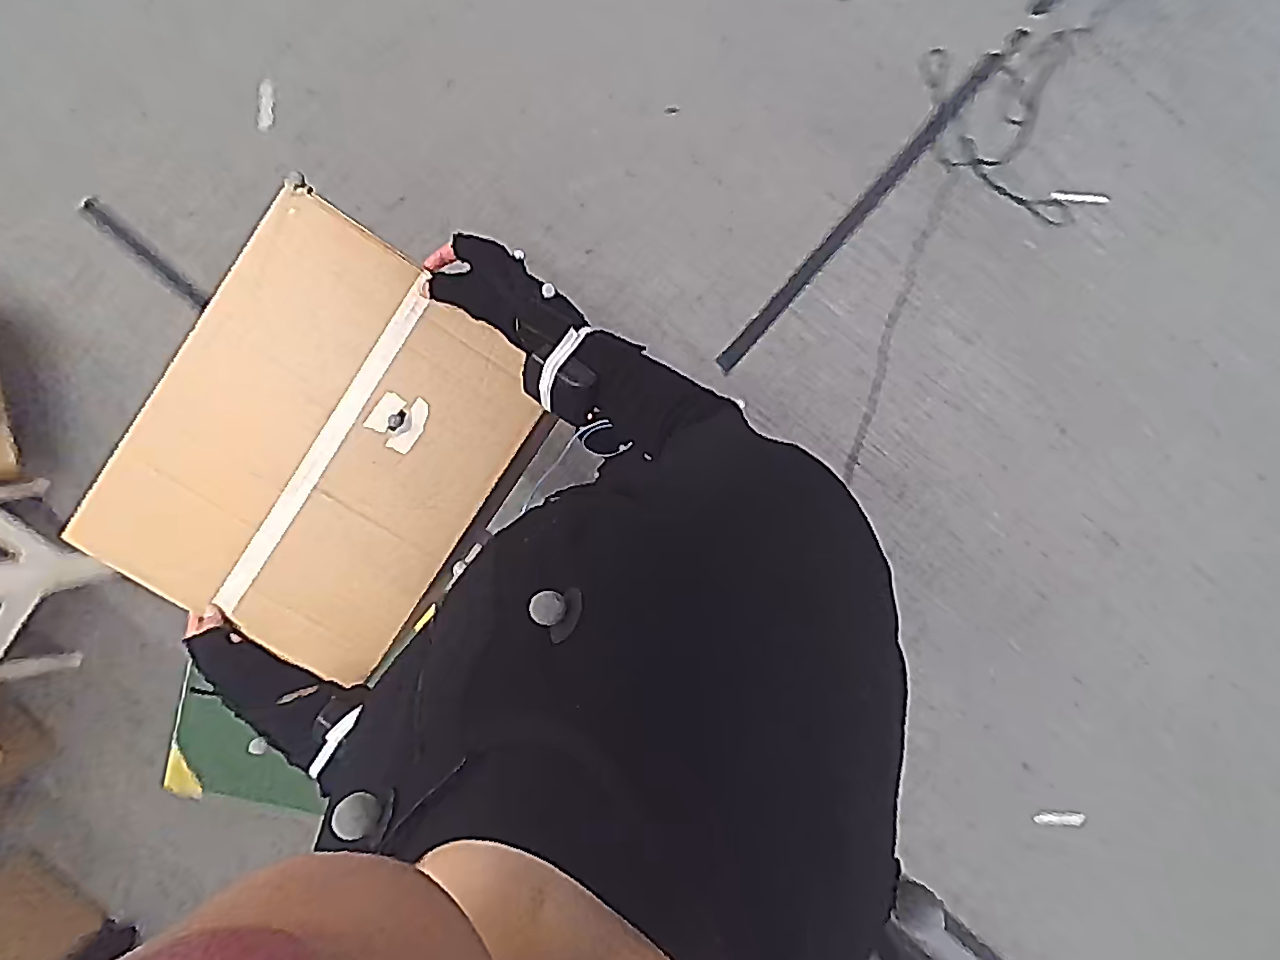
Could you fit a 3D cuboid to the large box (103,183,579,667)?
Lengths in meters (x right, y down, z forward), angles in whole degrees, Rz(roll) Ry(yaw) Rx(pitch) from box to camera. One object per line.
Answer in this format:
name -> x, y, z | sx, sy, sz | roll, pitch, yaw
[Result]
large box -> -0.316, -0.057, 0.698 | 0.320, 0.320, 0.408 | 35, 91, -8
